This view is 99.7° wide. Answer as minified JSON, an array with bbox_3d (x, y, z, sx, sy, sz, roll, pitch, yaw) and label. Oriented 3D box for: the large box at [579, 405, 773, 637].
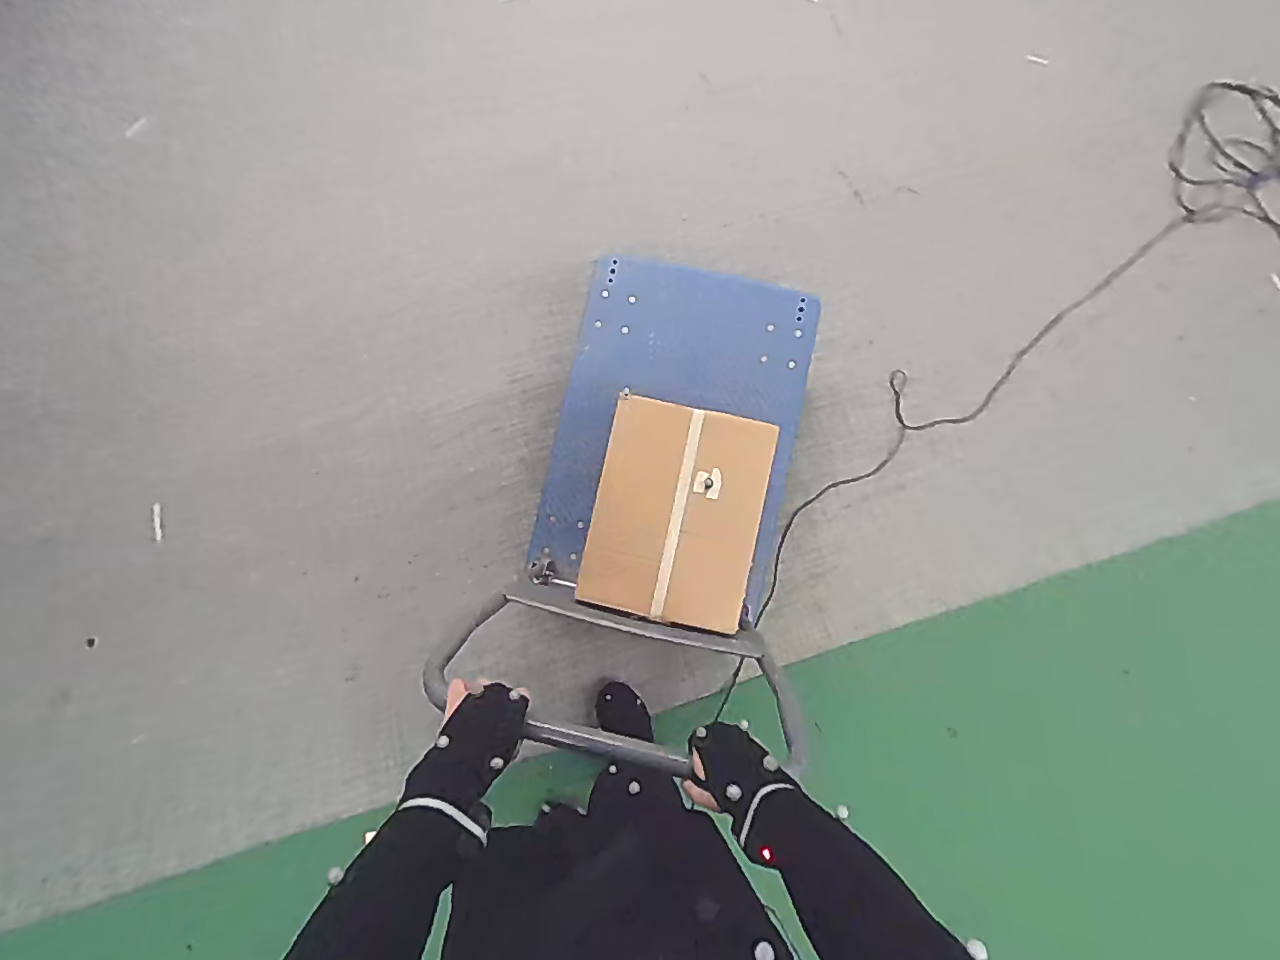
[{"bbox_3d":[0.077,0.089,1.190,0.320,0.320,0.408,13,86,3],"label":"large box"}]
